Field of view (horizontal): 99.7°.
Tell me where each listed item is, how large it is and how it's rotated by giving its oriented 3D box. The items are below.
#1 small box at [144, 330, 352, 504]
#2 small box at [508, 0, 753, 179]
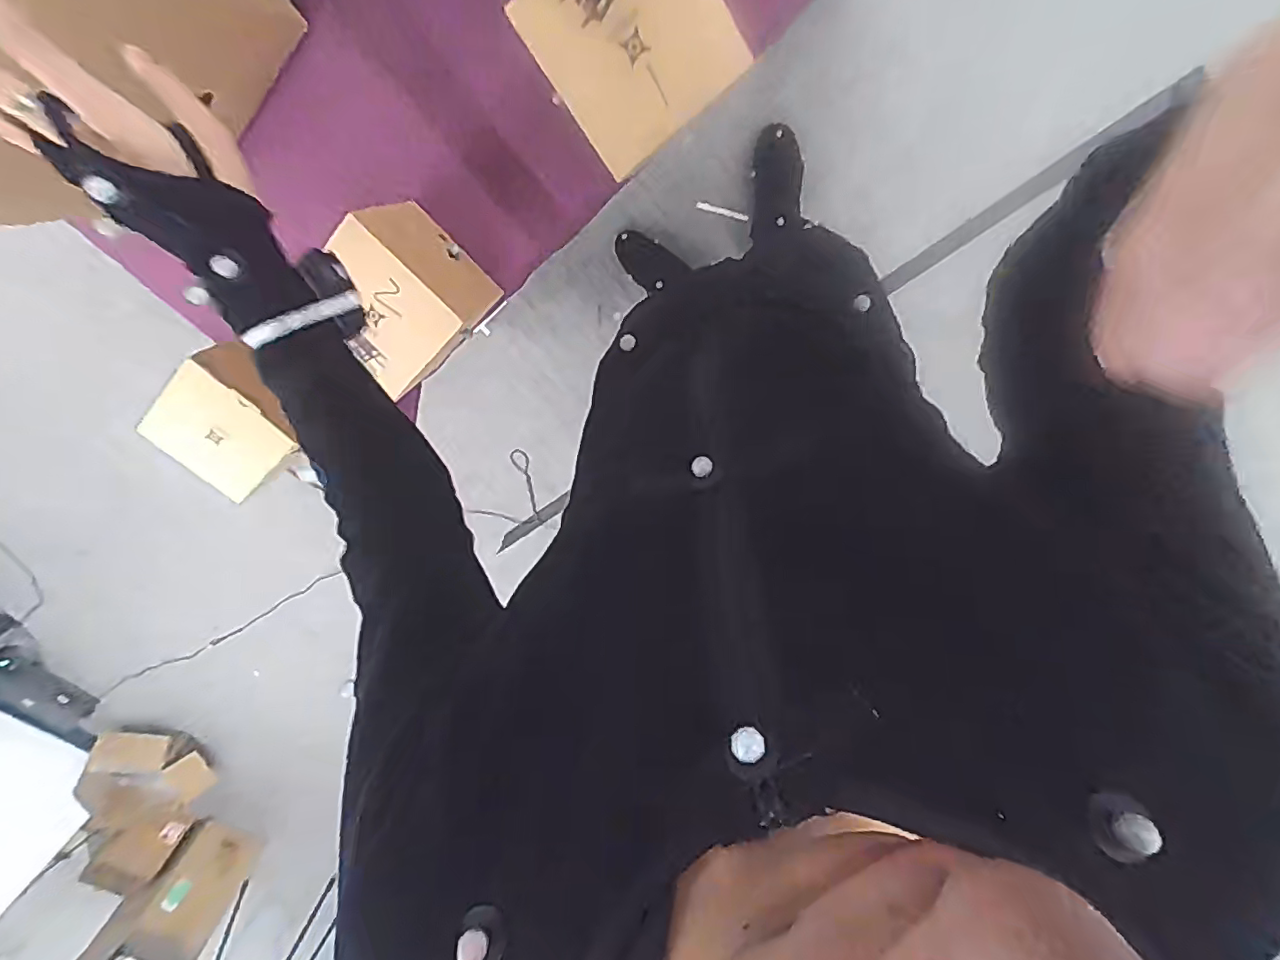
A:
[{"bbox_3d":[-0.592,-0.102,0.840,0.179,0.176,0.168,-35,112,22],"label":"small box"},{"bbox_3d":[-0.003,-0.450,0.566,0.168,0.176,0.179,-30,115,22],"label":"small box"}]
